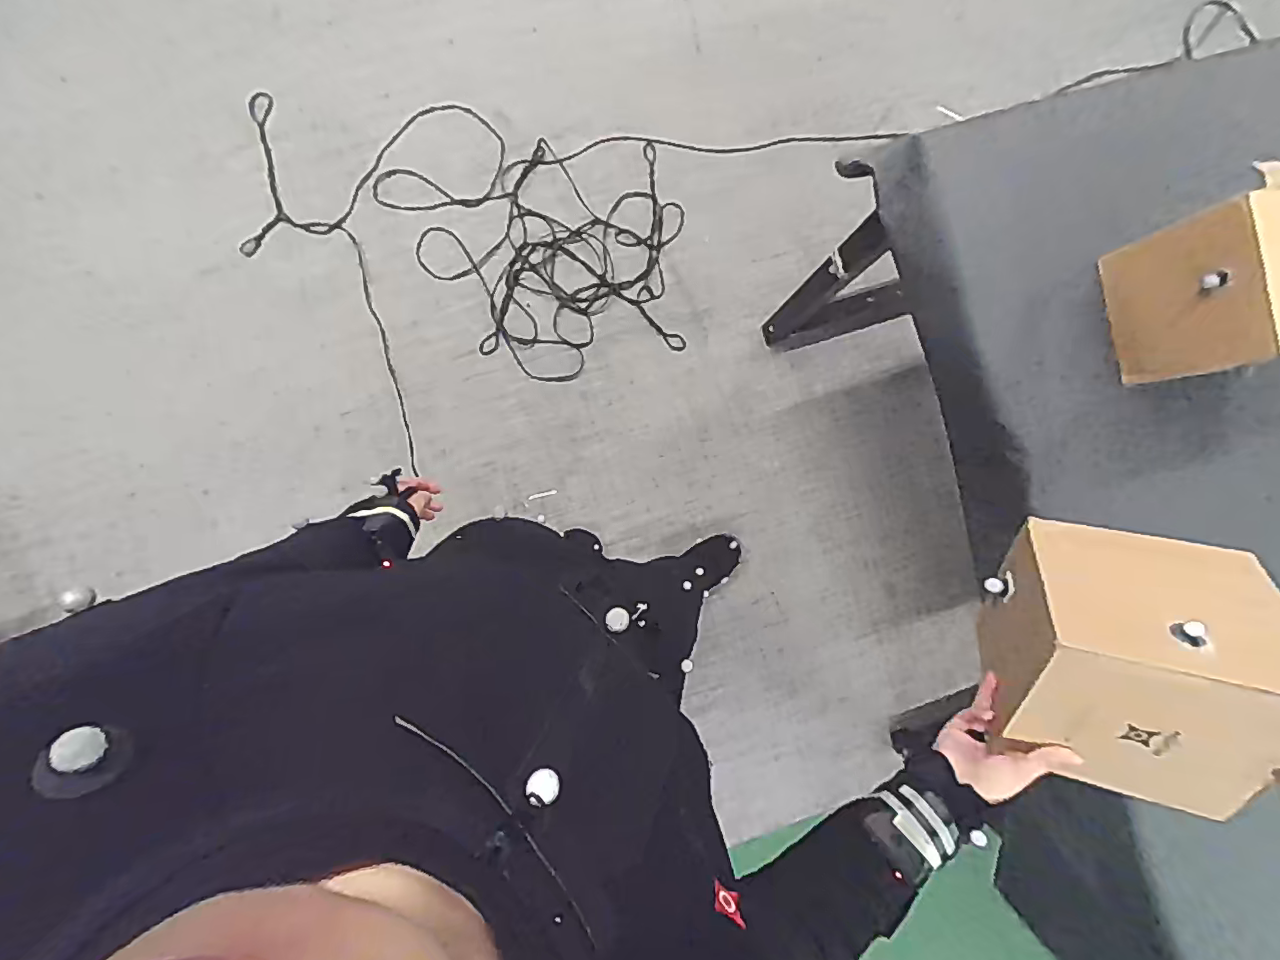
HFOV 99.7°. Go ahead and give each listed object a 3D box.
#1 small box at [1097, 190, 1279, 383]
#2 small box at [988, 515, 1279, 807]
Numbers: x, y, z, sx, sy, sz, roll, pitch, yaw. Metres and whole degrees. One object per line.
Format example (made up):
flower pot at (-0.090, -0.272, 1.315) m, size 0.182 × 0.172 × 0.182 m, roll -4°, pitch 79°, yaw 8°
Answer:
small box at (0.708, -0.222, 0.649) m, size 0.168 × 0.176 × 0.179 m, roll -10°, pitch 88°, yaw -6°
small box at (0.449, 0.152, 0.496) m, size 0.179 × 0.176 × 0.168 m, roll 10°, pitch 127°, yaw 20°
